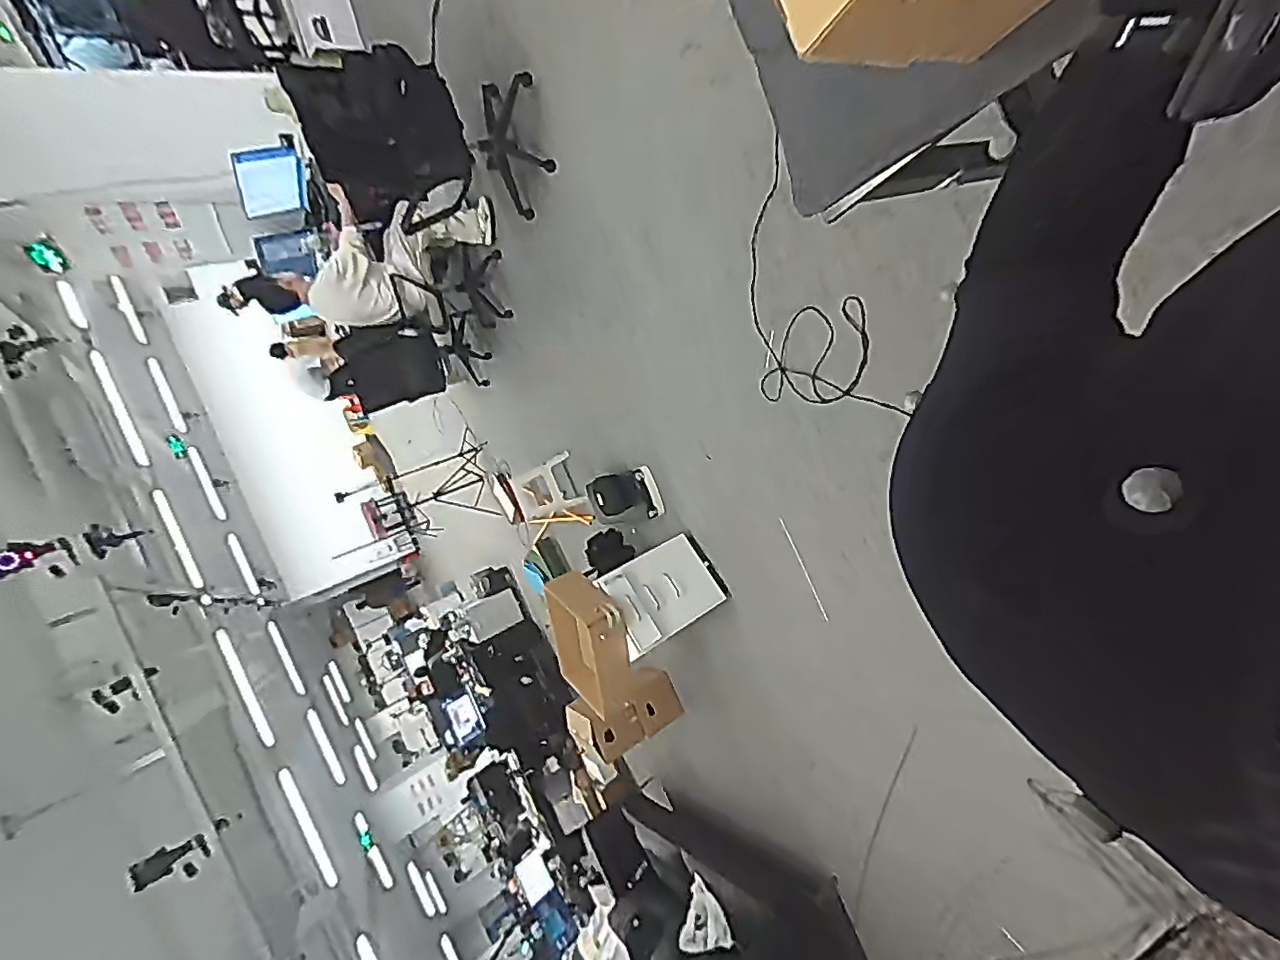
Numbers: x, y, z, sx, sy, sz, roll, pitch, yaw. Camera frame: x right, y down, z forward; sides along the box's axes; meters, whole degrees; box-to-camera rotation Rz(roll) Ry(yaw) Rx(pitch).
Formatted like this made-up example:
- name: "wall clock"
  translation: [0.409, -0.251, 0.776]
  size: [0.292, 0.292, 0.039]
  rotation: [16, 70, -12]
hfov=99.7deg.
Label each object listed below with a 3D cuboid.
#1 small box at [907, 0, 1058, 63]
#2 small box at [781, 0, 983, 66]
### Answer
- name: "small box"
  translation: [0.332, -0.534, 0.503]
  size: [0.179, 0.176, 0.168]
  rotation: [-16, 97, 60]
- name: "small box"
  translation: [0.212, -0.466, 0.416]
  size: [0.179, 0.176, 0.168]
  rotation: [-18, 96, 61]
